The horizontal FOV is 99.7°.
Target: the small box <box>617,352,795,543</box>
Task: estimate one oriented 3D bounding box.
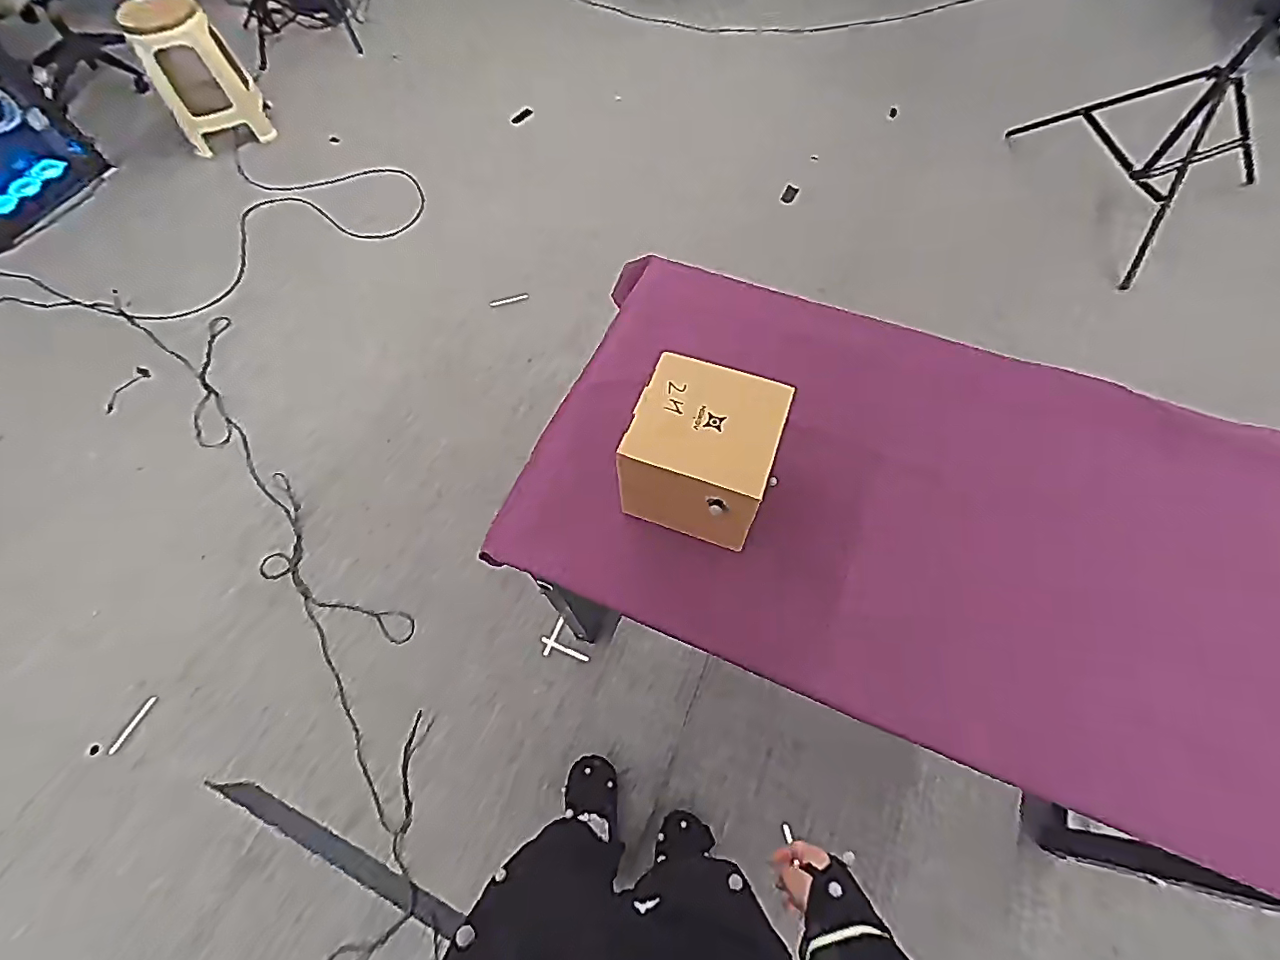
[{"bbox_3d":[0.084,-0.034,0.715,0.179,0.176,0.168,18,63,11],"label":"small box"}]
